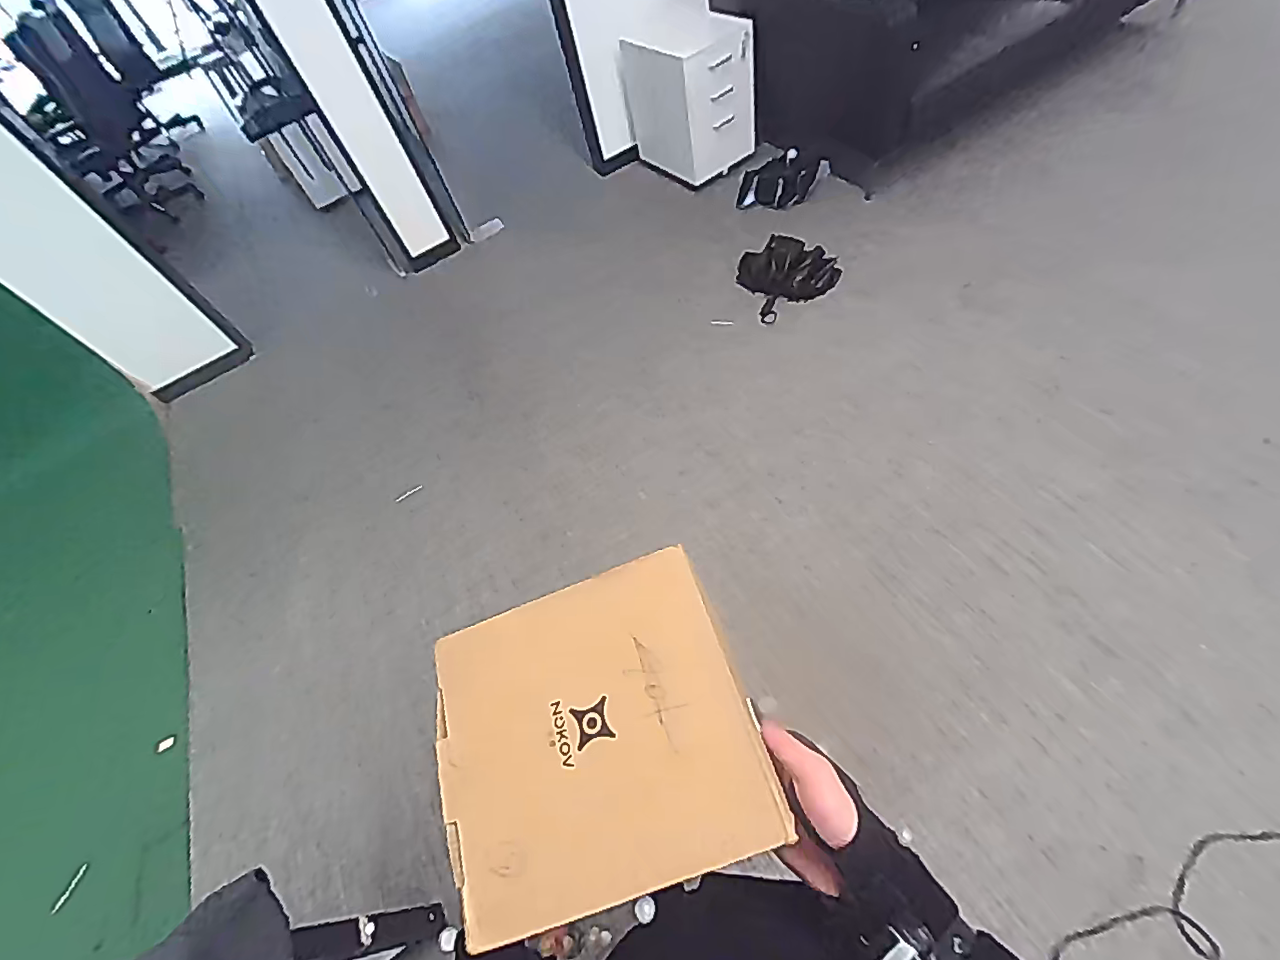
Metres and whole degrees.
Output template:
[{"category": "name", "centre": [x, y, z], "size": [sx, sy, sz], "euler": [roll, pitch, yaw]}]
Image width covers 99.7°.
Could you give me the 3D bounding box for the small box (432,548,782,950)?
[{"category": "small box", "centre": [-0.013, 0.176, 0.373], "size": [0.179, 0.176, 0.168], "euler": [-22, 59, 3]}]
